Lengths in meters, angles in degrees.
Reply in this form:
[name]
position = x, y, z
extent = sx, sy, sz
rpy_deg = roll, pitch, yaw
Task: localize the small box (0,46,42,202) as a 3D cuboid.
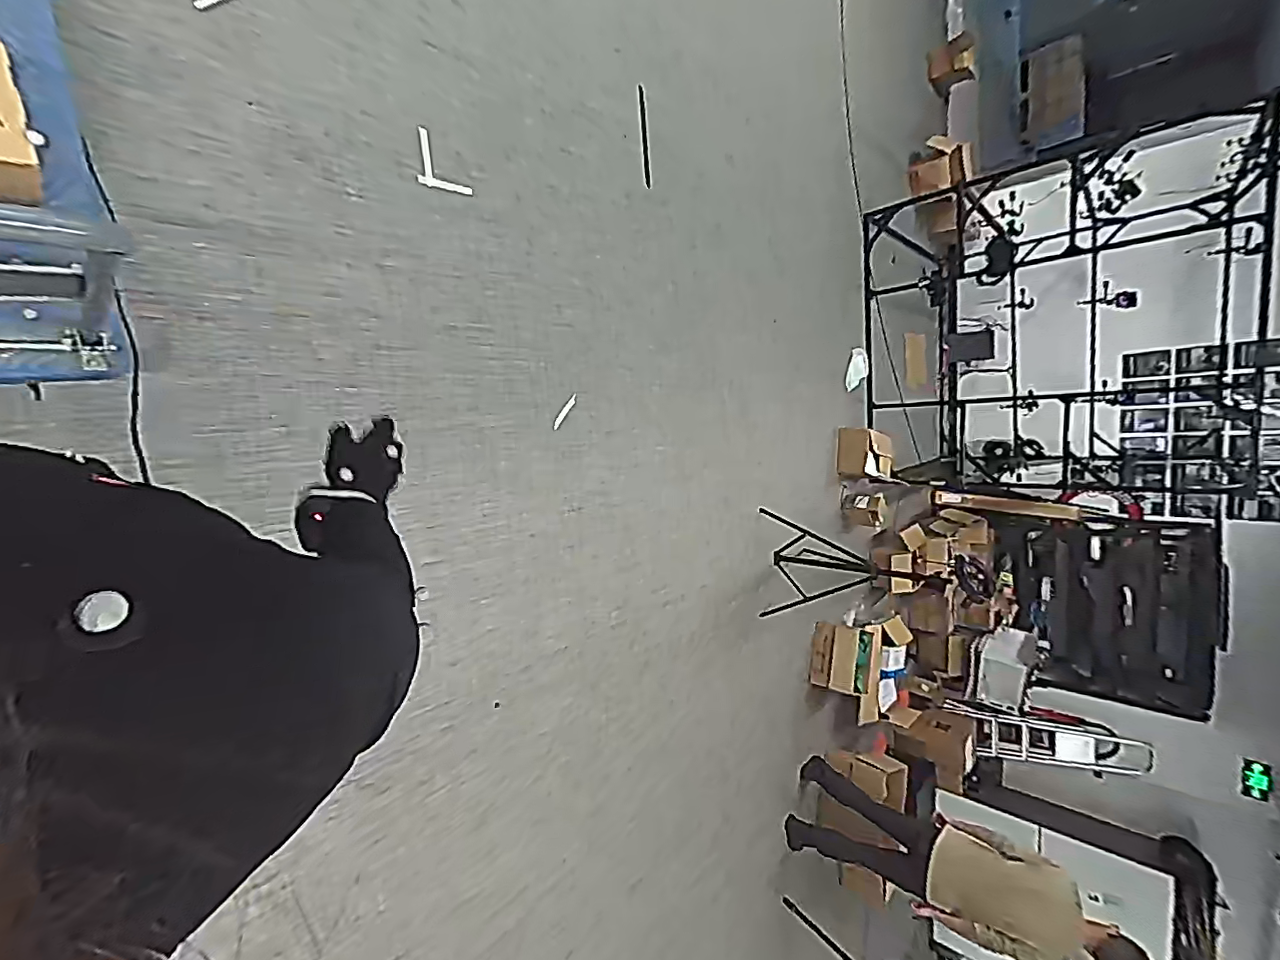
[small box]
position = -1.007, -0.519, 0.774
extent = 0.179, 0.176, 0.168
rpy_deg = -18, 105, -45
